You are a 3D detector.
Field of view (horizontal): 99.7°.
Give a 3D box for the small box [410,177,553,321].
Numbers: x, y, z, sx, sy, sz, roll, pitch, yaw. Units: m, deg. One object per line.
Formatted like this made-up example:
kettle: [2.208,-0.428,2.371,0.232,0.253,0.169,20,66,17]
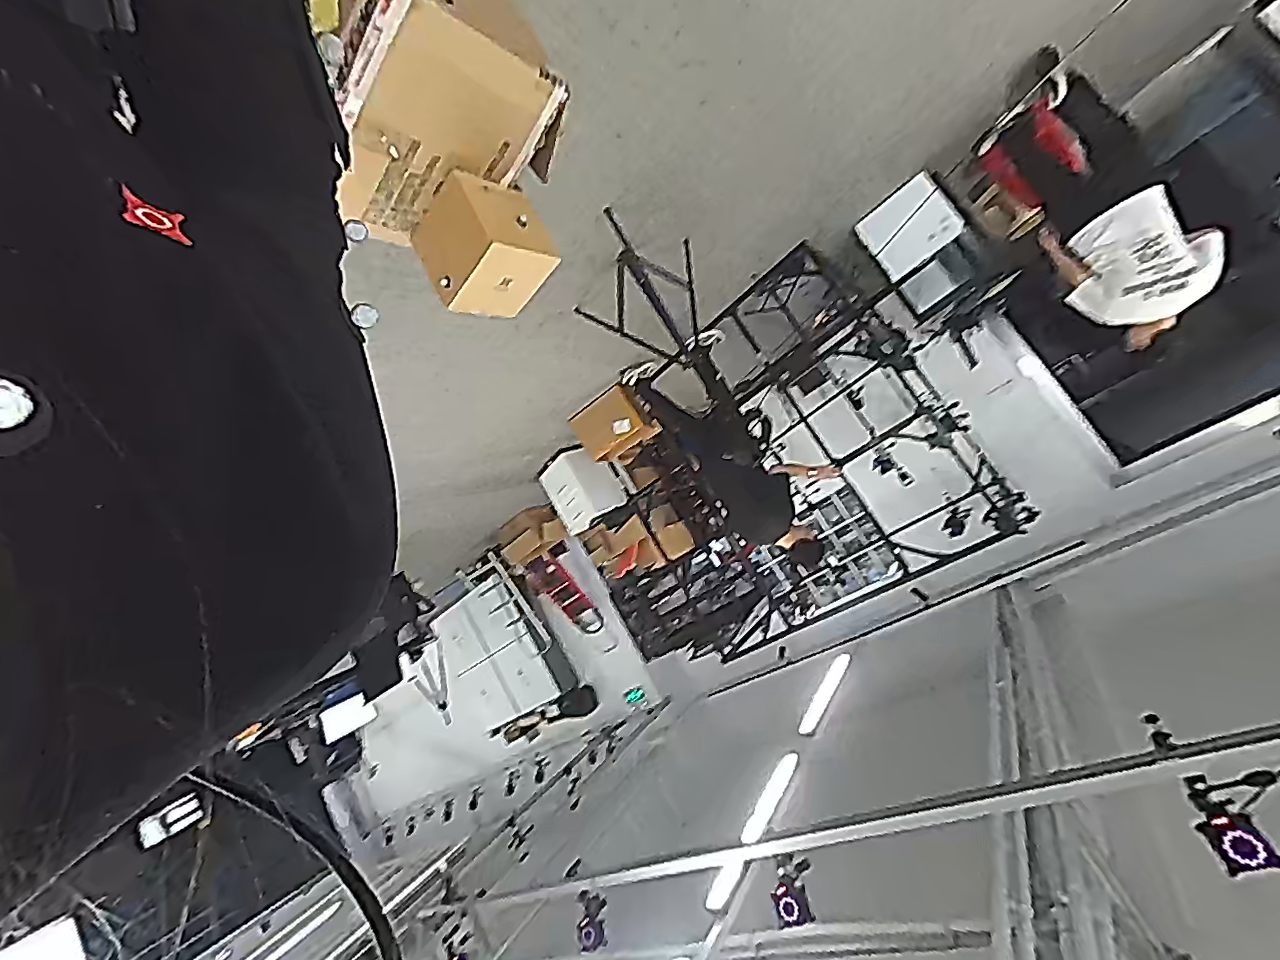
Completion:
small box: [-0.305,-0.429,1.024,0.179,0.176,0.168,-35,168,35]
